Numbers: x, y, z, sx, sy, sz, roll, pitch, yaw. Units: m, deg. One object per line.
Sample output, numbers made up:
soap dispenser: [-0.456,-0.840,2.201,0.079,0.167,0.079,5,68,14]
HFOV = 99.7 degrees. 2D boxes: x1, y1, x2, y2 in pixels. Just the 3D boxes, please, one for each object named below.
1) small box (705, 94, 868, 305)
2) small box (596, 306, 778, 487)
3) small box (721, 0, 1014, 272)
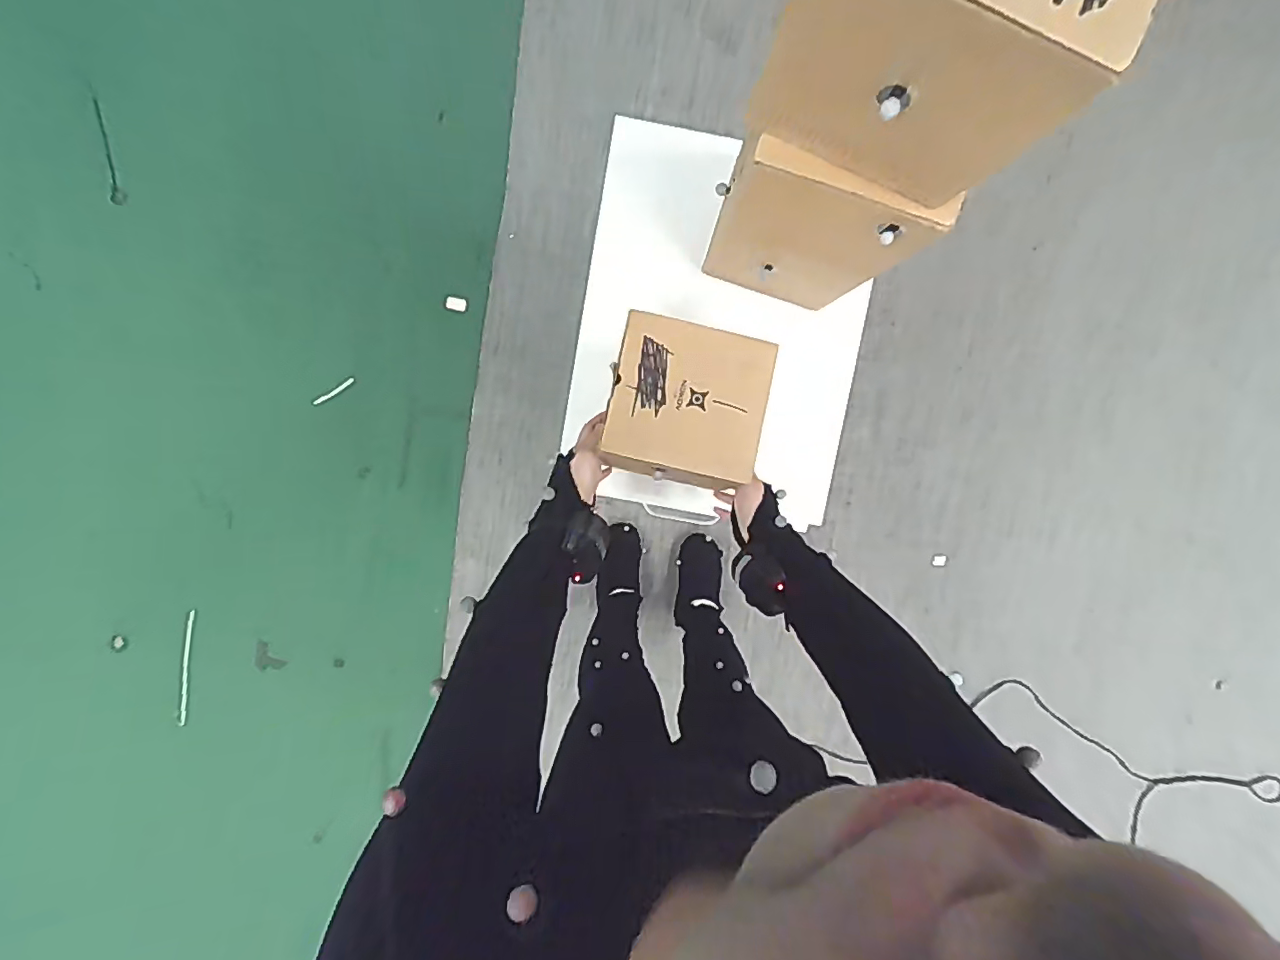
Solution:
small box: [0.190,-0.334,0.670,0.179,0.176,0.168,17,95,-2]
small box: [0.048,-0.090,0.675,0.179,0.176,0.168,13,85,-3]
small box: [0.189,-0.317,0.508,0.179,0.176,0.168,16,95,-3]
